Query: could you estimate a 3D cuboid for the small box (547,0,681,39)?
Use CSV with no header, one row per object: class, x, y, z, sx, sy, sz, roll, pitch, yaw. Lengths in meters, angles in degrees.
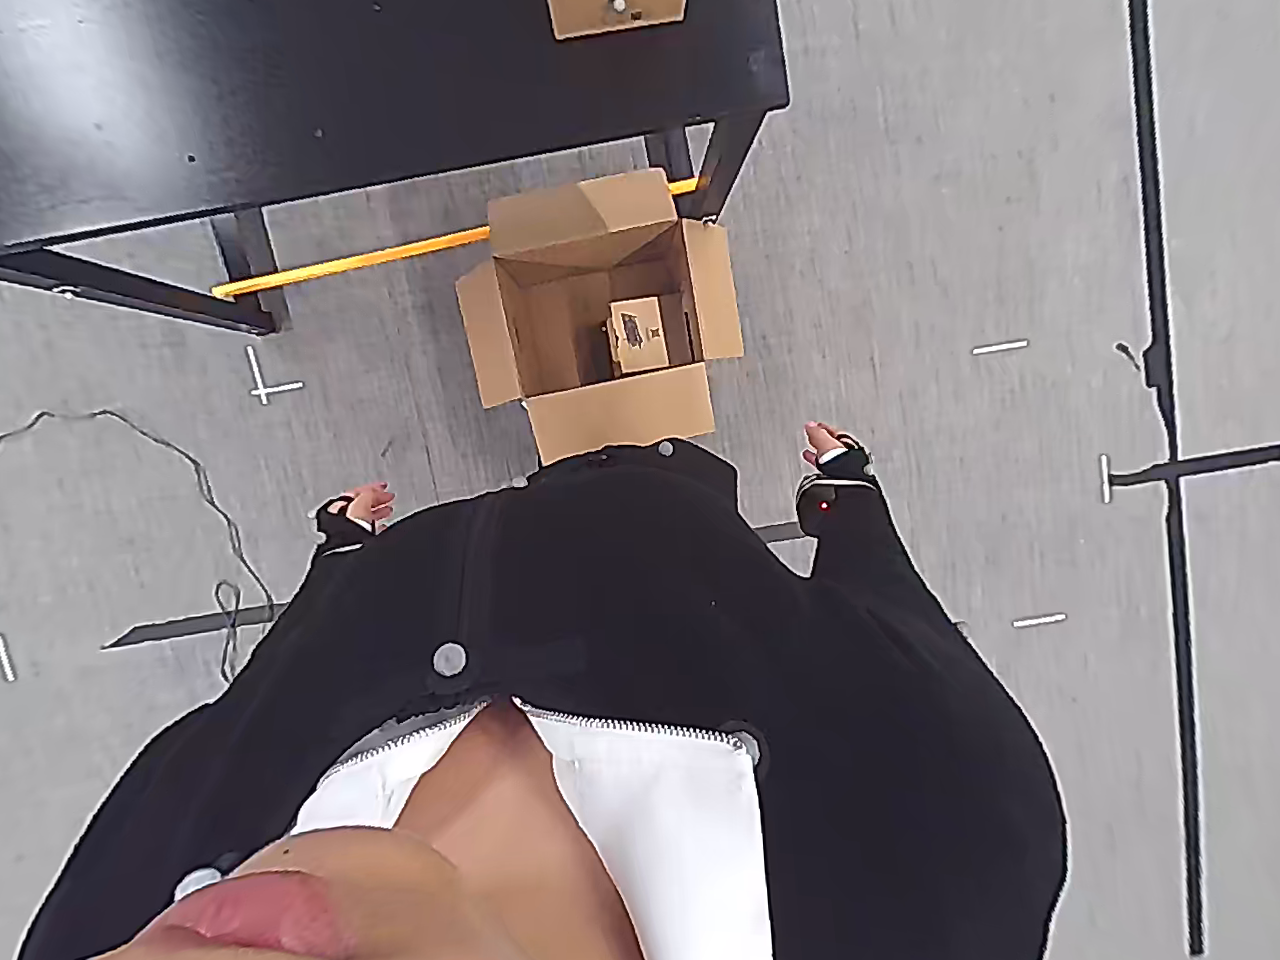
small box,-0.040,-0.645,0.596,0.168,0.176,0.179,-9,96,0
